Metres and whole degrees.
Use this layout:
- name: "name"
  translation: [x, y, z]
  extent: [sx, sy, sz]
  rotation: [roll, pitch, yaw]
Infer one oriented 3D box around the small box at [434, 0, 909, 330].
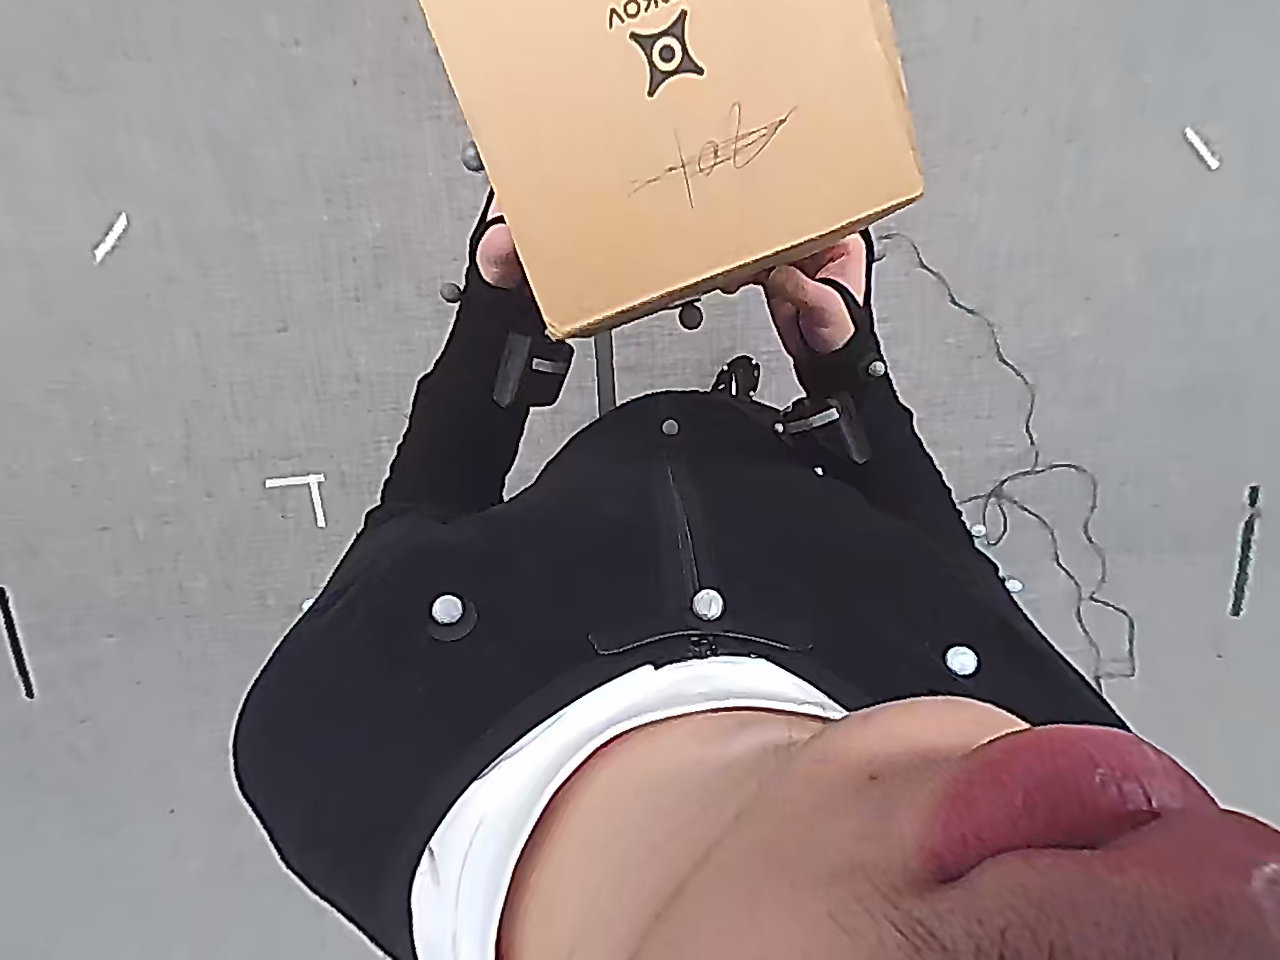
- name: "small box"
  translation: [0.011, -0.191, 0.295]
  extent: [0.168, 0.176, 0.179]
  rotation: [-19, 104, 6]
